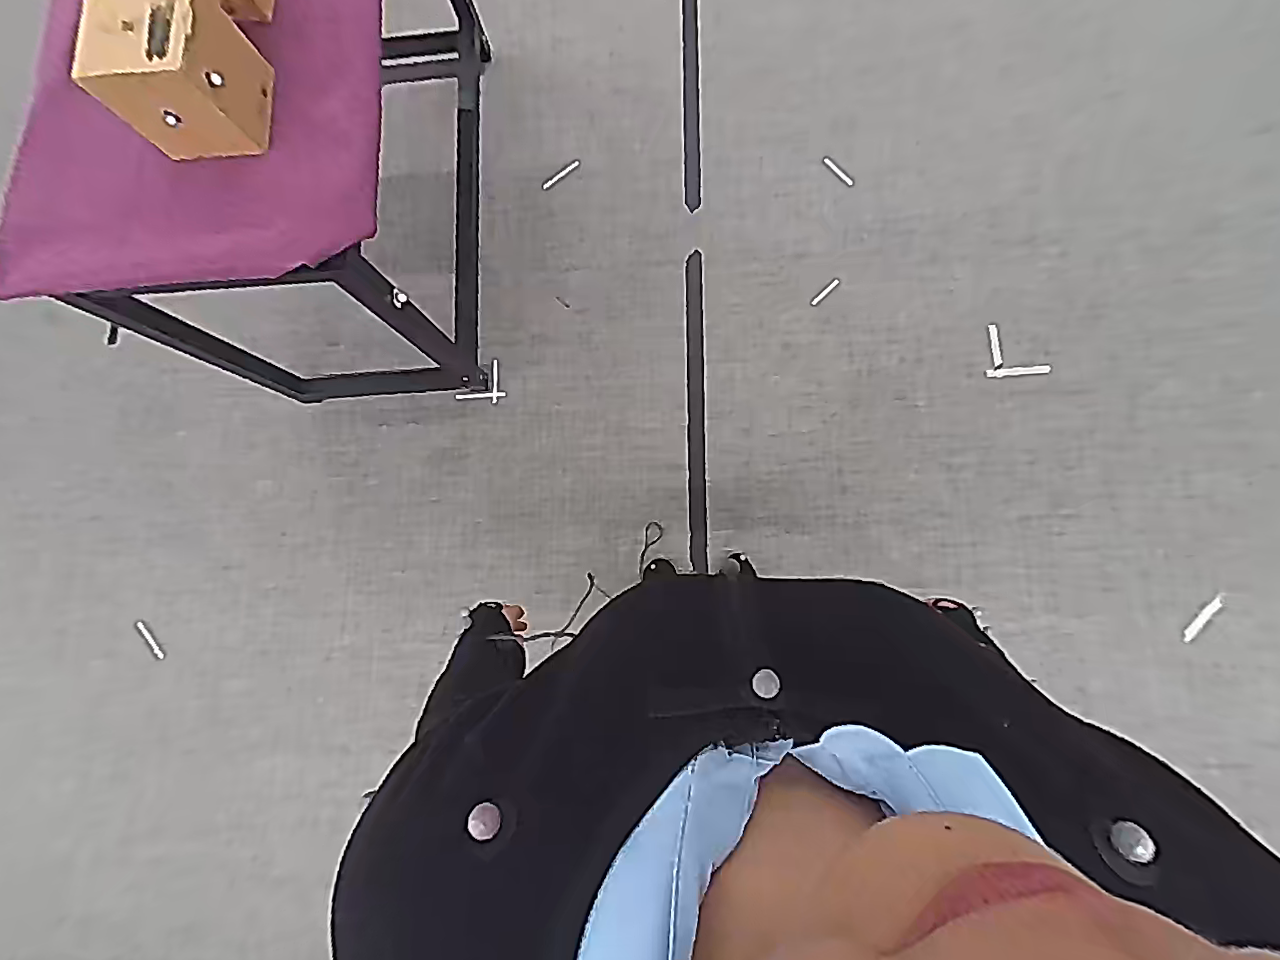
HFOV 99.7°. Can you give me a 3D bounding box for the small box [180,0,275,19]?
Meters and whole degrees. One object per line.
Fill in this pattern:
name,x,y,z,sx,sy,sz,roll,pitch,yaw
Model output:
small box,-0.742,-0.932,0.916,0.168,0.176,0.179,6,82,4
